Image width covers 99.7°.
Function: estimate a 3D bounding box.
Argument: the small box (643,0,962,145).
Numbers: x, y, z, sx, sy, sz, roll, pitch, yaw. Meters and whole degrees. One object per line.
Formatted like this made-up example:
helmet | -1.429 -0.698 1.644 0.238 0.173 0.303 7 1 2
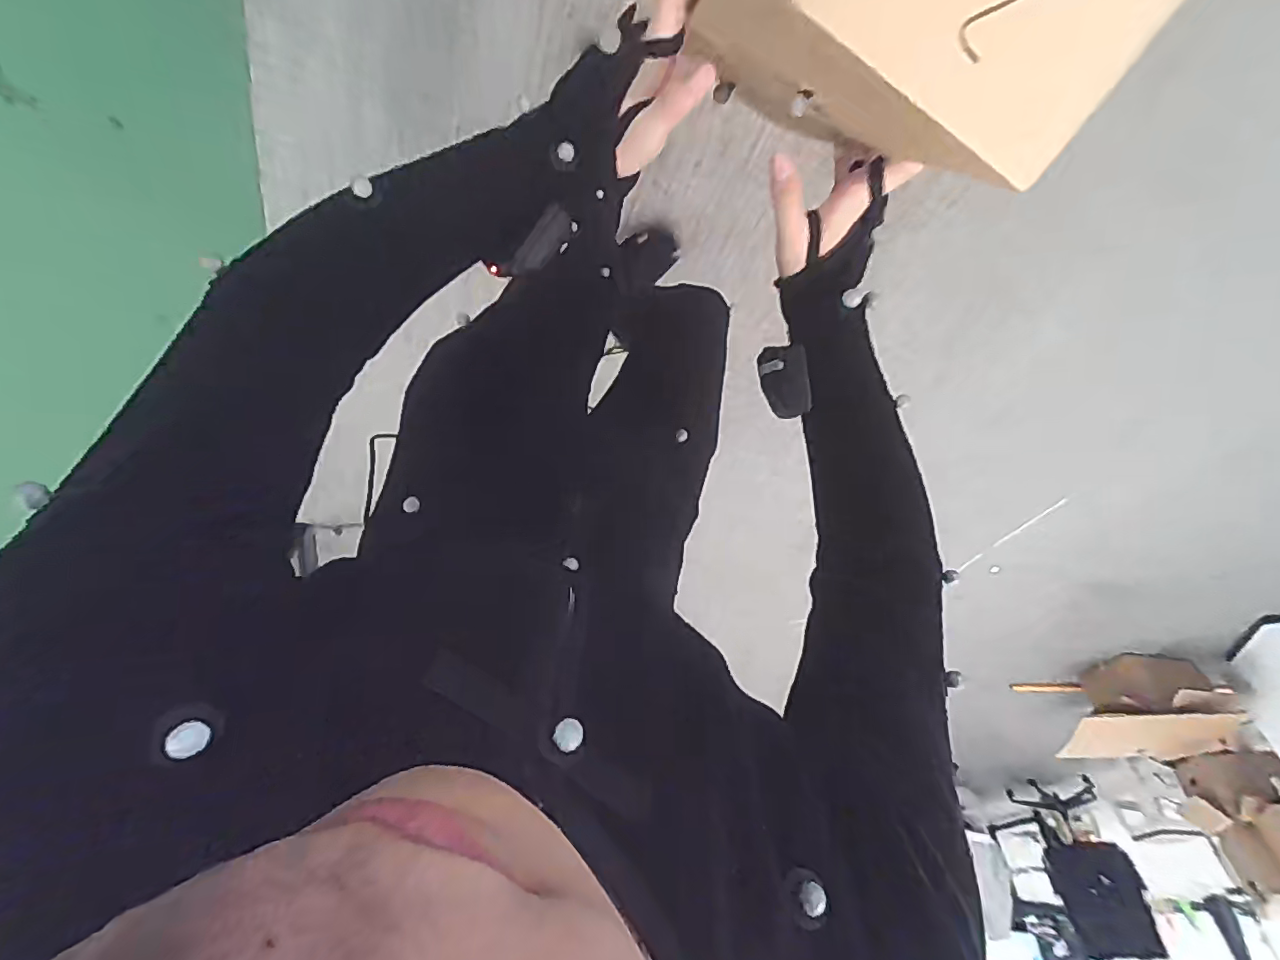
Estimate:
small box | 0.124 -0.389 0.401 0.179 0.176 0.168 17 122 -25
